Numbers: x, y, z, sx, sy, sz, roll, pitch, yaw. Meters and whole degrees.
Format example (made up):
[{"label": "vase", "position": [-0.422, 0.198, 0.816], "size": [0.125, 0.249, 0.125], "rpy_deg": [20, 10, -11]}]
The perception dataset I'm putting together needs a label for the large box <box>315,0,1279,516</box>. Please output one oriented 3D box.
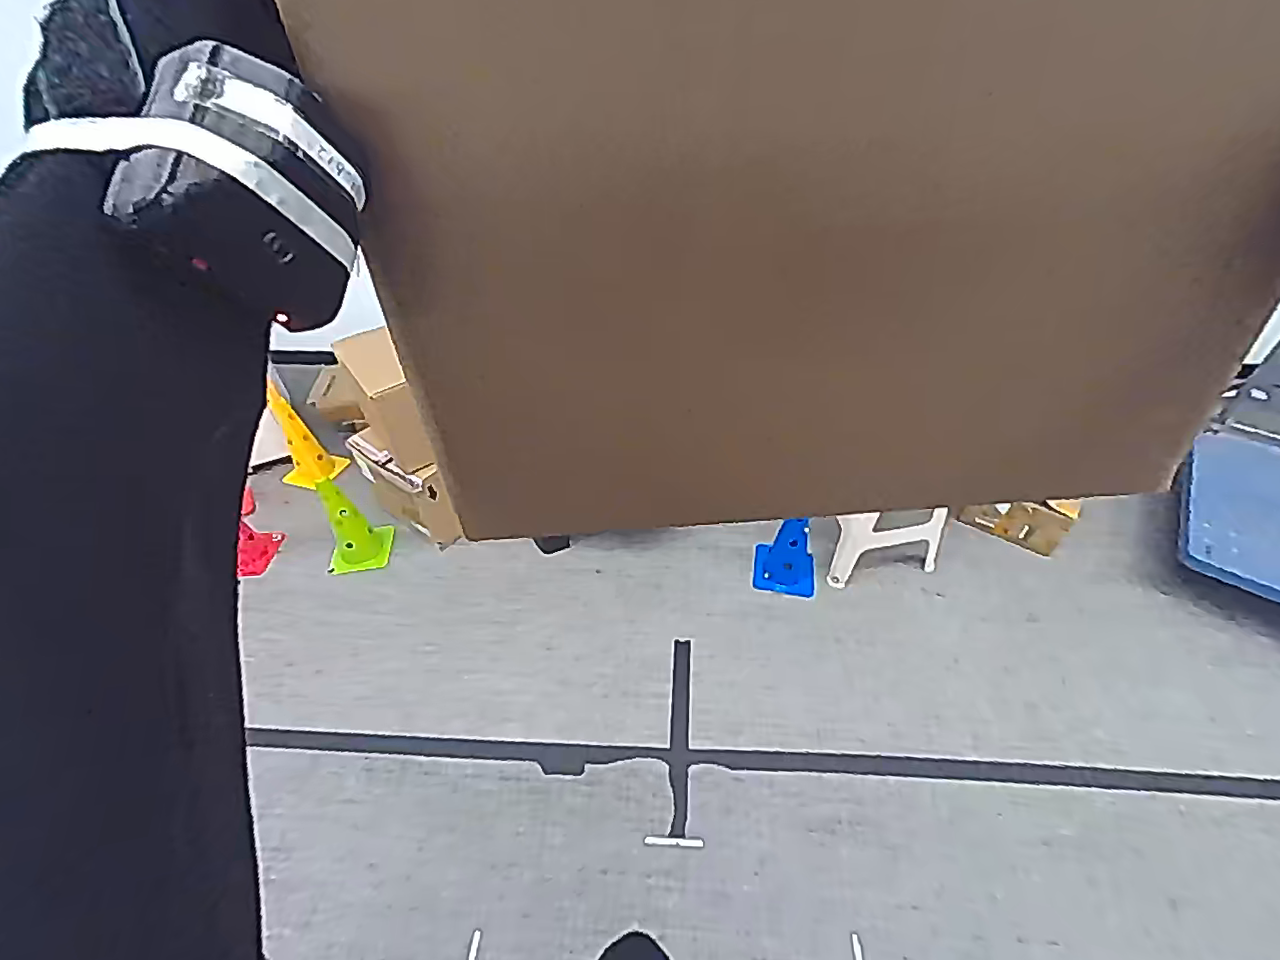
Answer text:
[{"label": "large box", "position": [0.079, -0.197, 0.352], "size": [0.408, 0.320, 0.320], "rpy_deg": [-4, 36, -1]}]
